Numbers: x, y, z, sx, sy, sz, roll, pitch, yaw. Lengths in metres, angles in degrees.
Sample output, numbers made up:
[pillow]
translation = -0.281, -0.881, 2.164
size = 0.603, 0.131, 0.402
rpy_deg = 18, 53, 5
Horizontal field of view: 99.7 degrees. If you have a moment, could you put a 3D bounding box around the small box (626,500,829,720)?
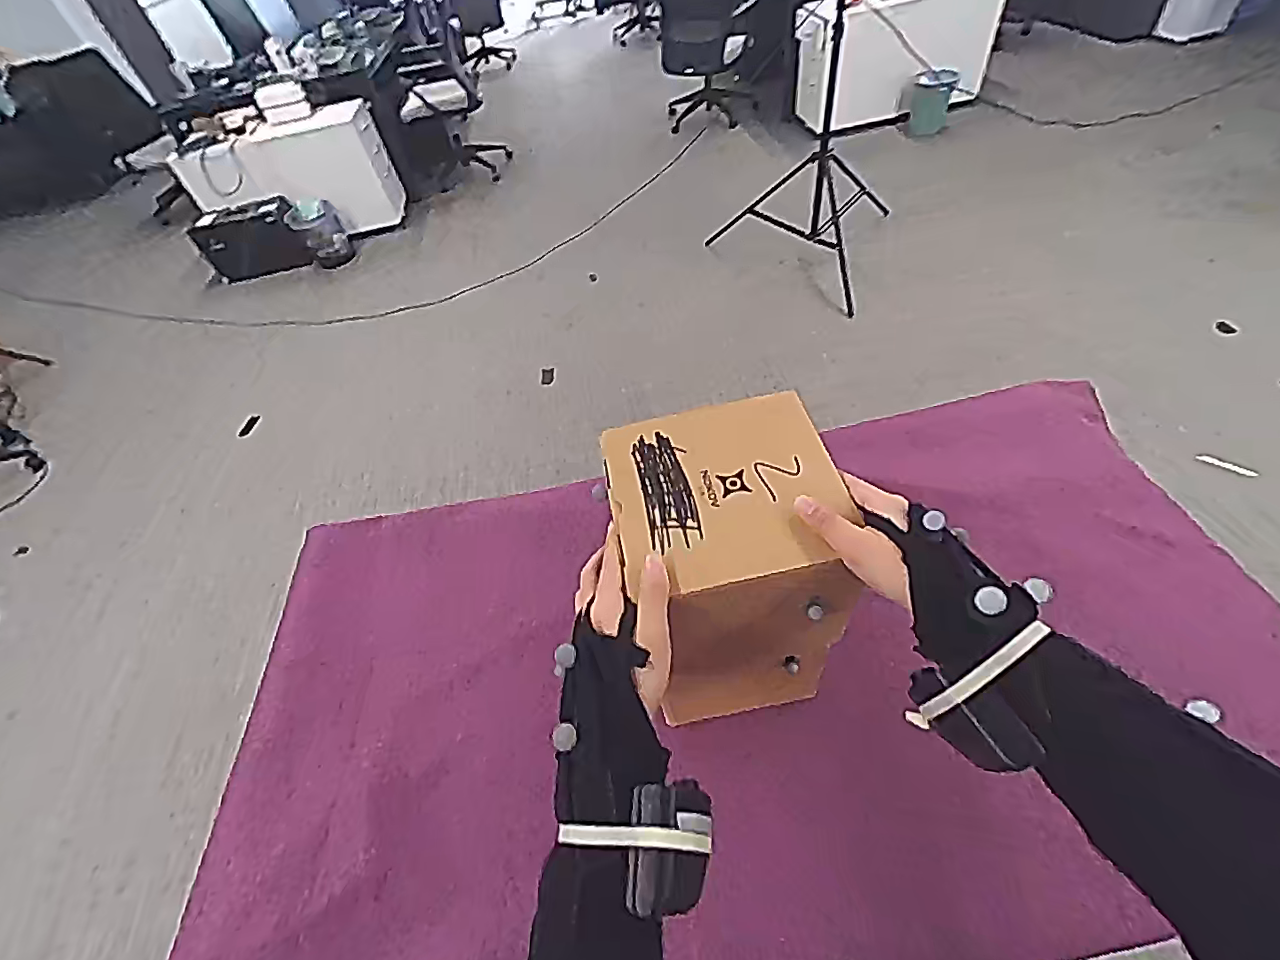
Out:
[small box]
translation = 0.091, 0.150, 0.607
size = 0.179, 0.176, 0.168
rpy_deg = -12, 49, 0
